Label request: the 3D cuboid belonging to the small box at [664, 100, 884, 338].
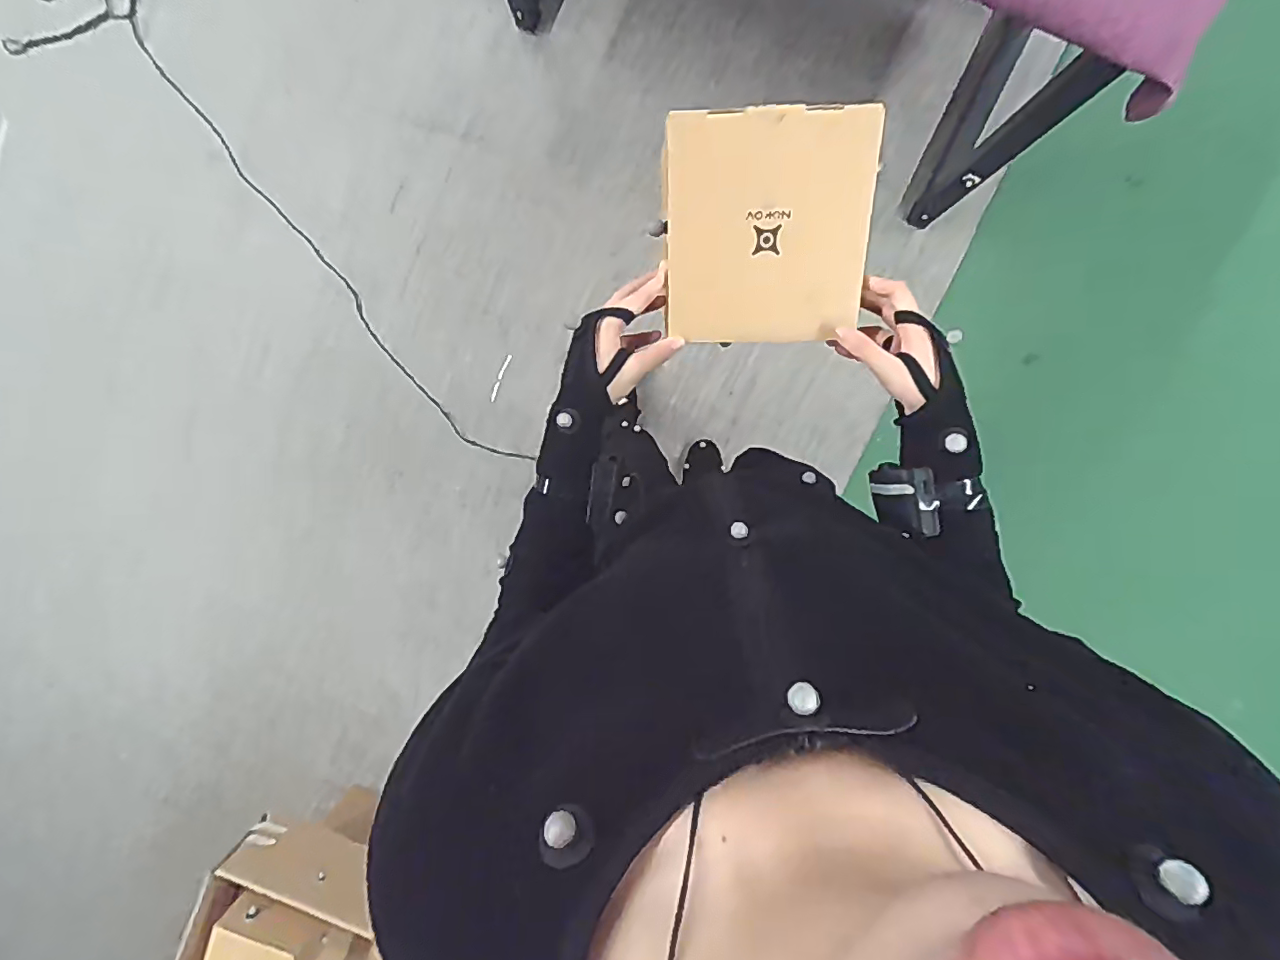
[{"bbox_3d":[0.108,-0.237,0.516,0.168,0.176,0.179,0,112,2],"label":"small box"}]
